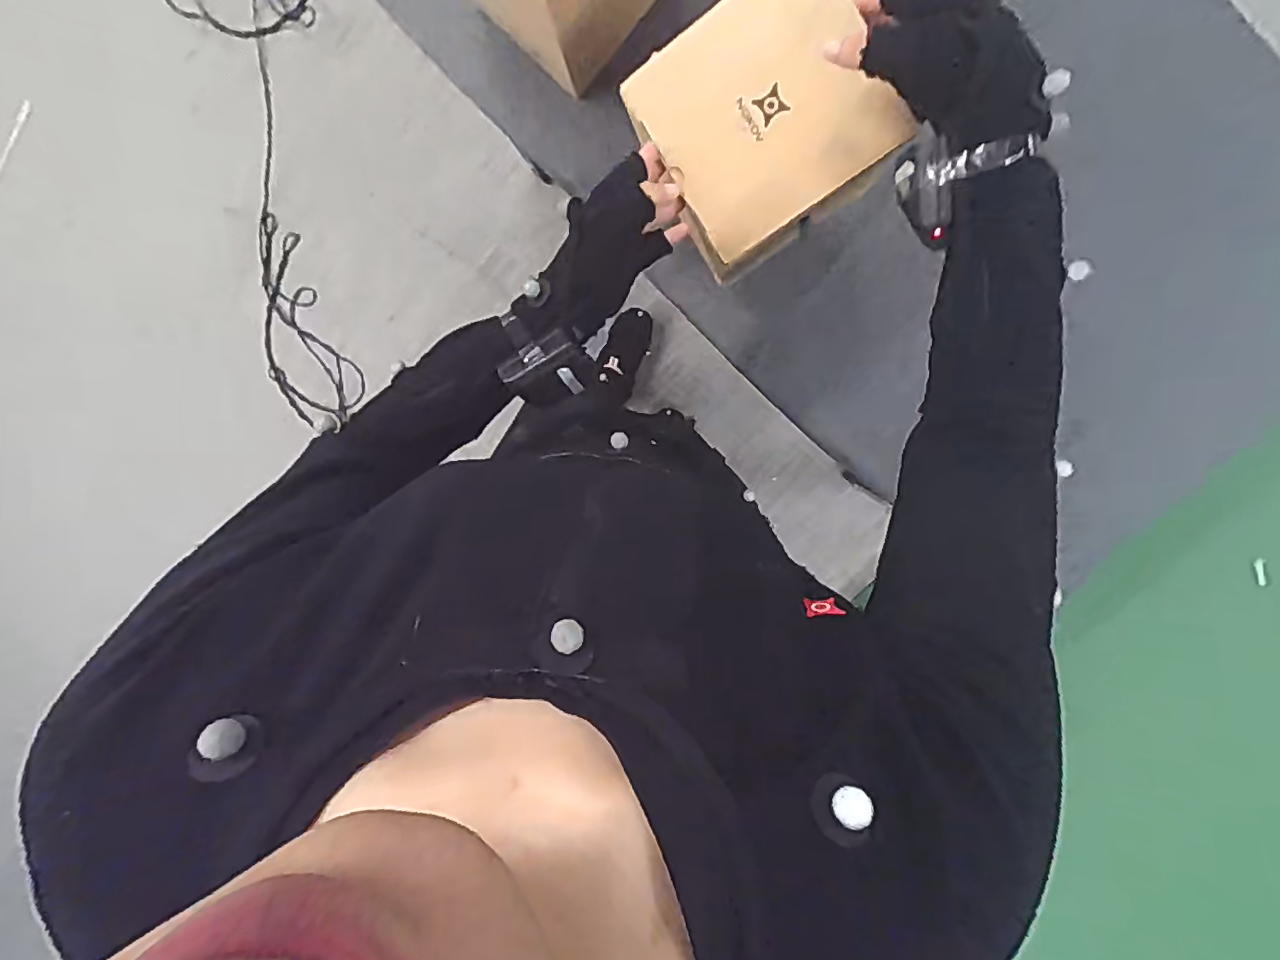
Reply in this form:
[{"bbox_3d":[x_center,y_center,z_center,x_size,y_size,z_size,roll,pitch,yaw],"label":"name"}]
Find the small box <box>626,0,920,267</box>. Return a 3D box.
[{"bbox_3d":[0.112,-0.321,0.497,0.179,0.176,0.168,-31,99,16],"label":"small box"}]
